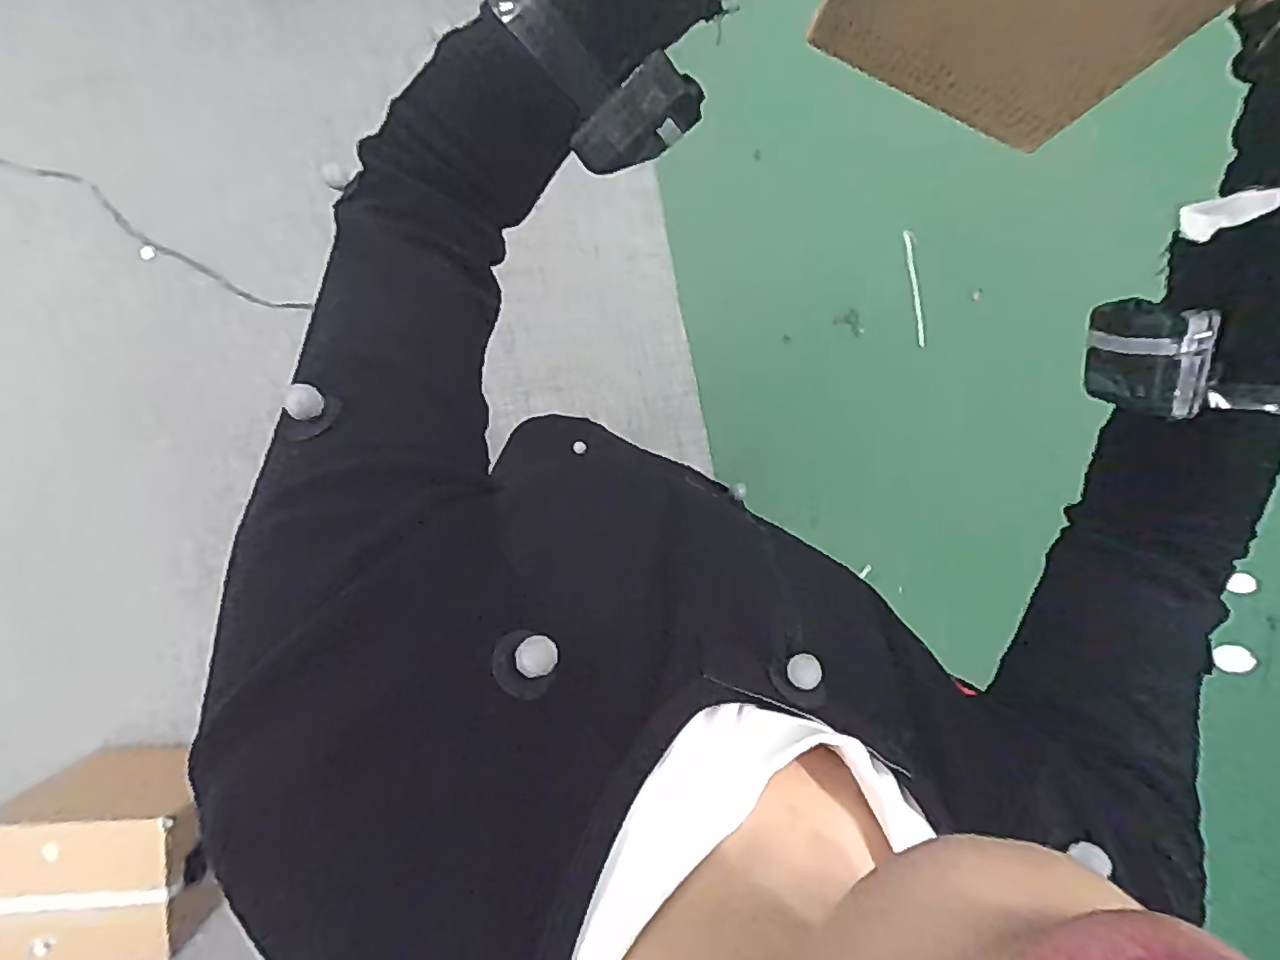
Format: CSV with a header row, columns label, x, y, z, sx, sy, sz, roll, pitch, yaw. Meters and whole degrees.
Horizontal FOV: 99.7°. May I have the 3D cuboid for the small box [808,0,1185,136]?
label,x,y,z,sx,sy,sz,roll,pitch,yaw
small box,0.221,-0.336,0.294,0.179,0.176,0.168,21,86,-8
